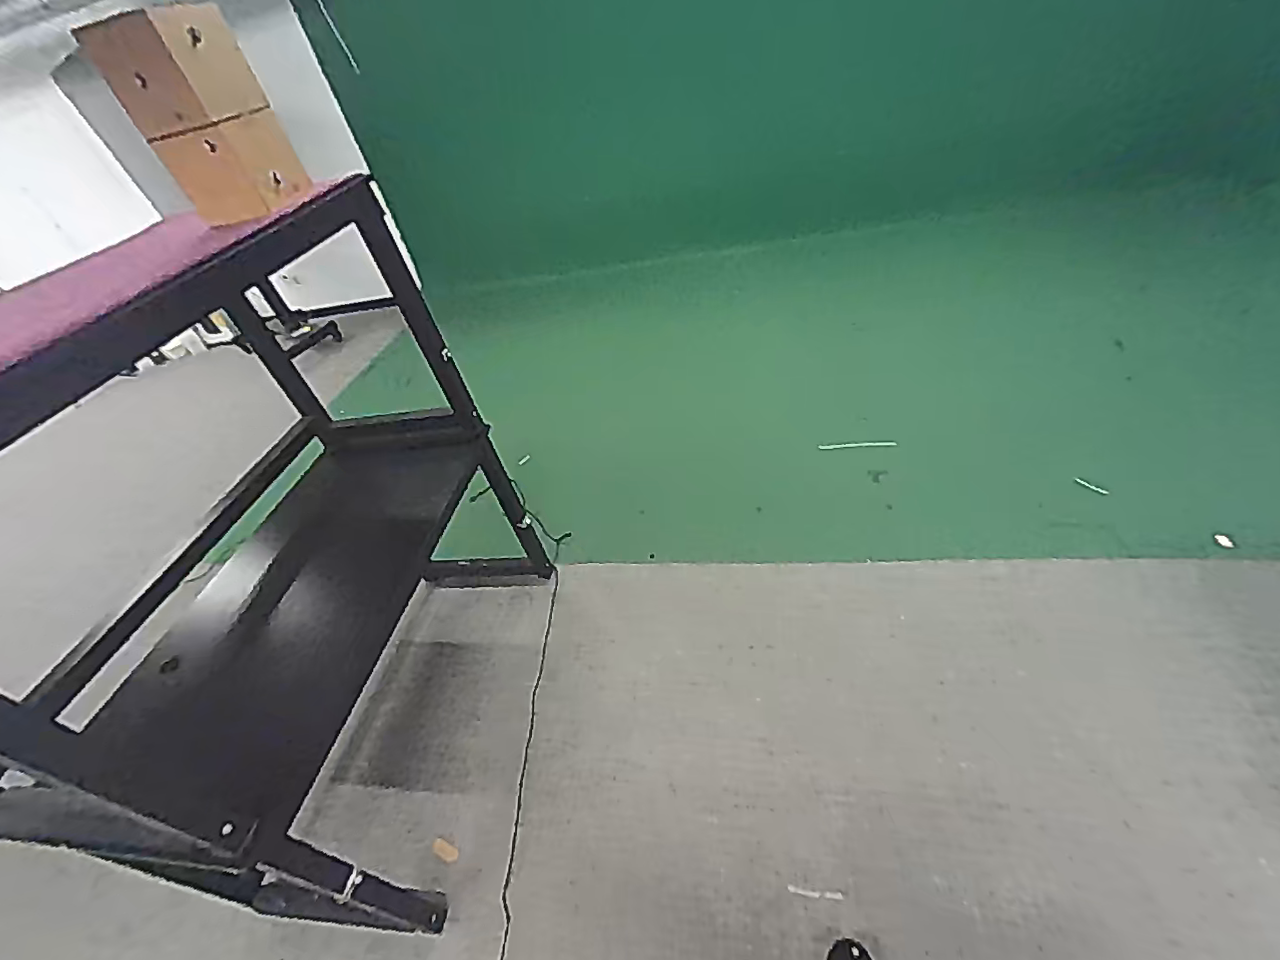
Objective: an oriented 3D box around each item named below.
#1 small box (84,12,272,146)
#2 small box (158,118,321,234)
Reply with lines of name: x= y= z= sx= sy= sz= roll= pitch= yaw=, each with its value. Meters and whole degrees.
small box: x=-0.855 y=-0.753 z=1.026 sx=0.168 sy=0.176 sz=0.179 roll=-3 pitch=42 yaw=13
small box: x=-0.829 y=-0.636 z=1.139 sx=0.179 sy=0.176 sz=0.168 roll=-3 pitch=42 yaw=14
